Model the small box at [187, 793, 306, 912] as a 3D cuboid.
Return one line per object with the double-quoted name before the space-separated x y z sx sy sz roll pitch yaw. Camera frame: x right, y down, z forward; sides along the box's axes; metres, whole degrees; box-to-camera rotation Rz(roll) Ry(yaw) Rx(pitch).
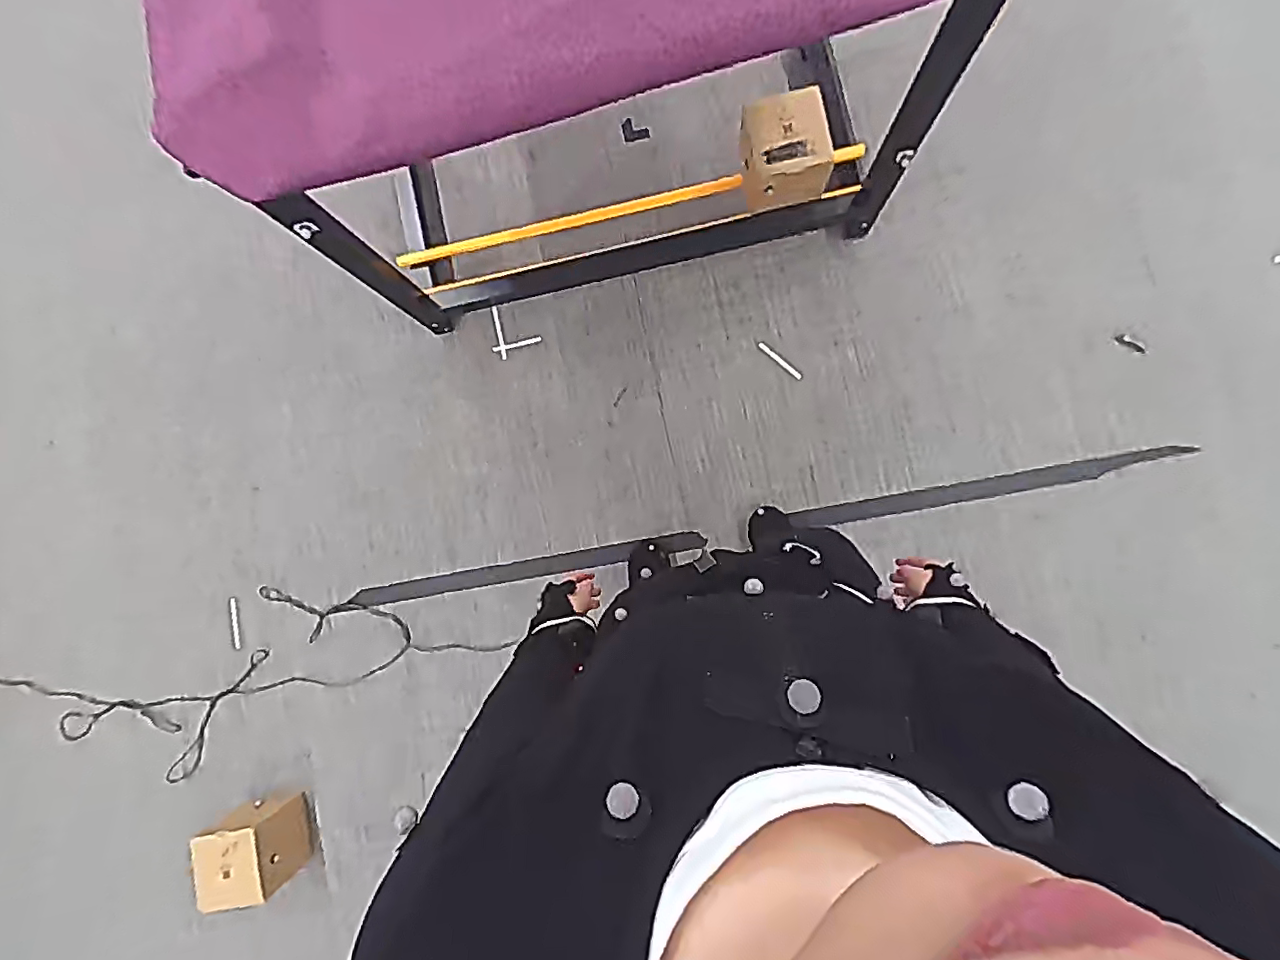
"small box" -0.966 0.916 1.342 0.168 0.176 0.179 -11 86 3
